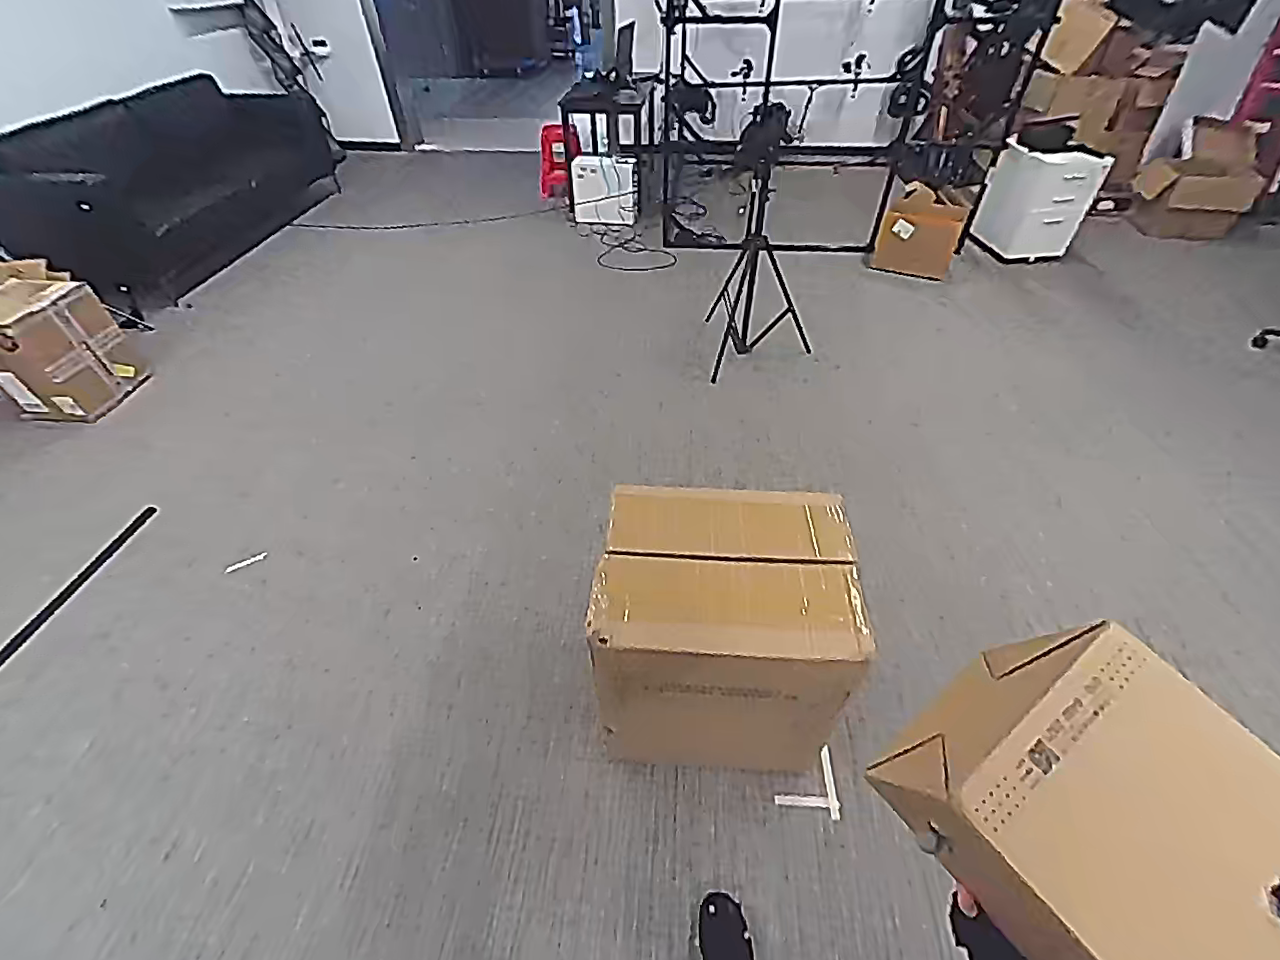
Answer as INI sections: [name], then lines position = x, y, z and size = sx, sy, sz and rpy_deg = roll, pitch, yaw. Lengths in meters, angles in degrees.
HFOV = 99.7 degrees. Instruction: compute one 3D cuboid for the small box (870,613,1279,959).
[small box]
position = 0.298, 0.218, 0.387
size = 0.168, 0.179, 0.176
rpy_deg = -39, 69, -11
